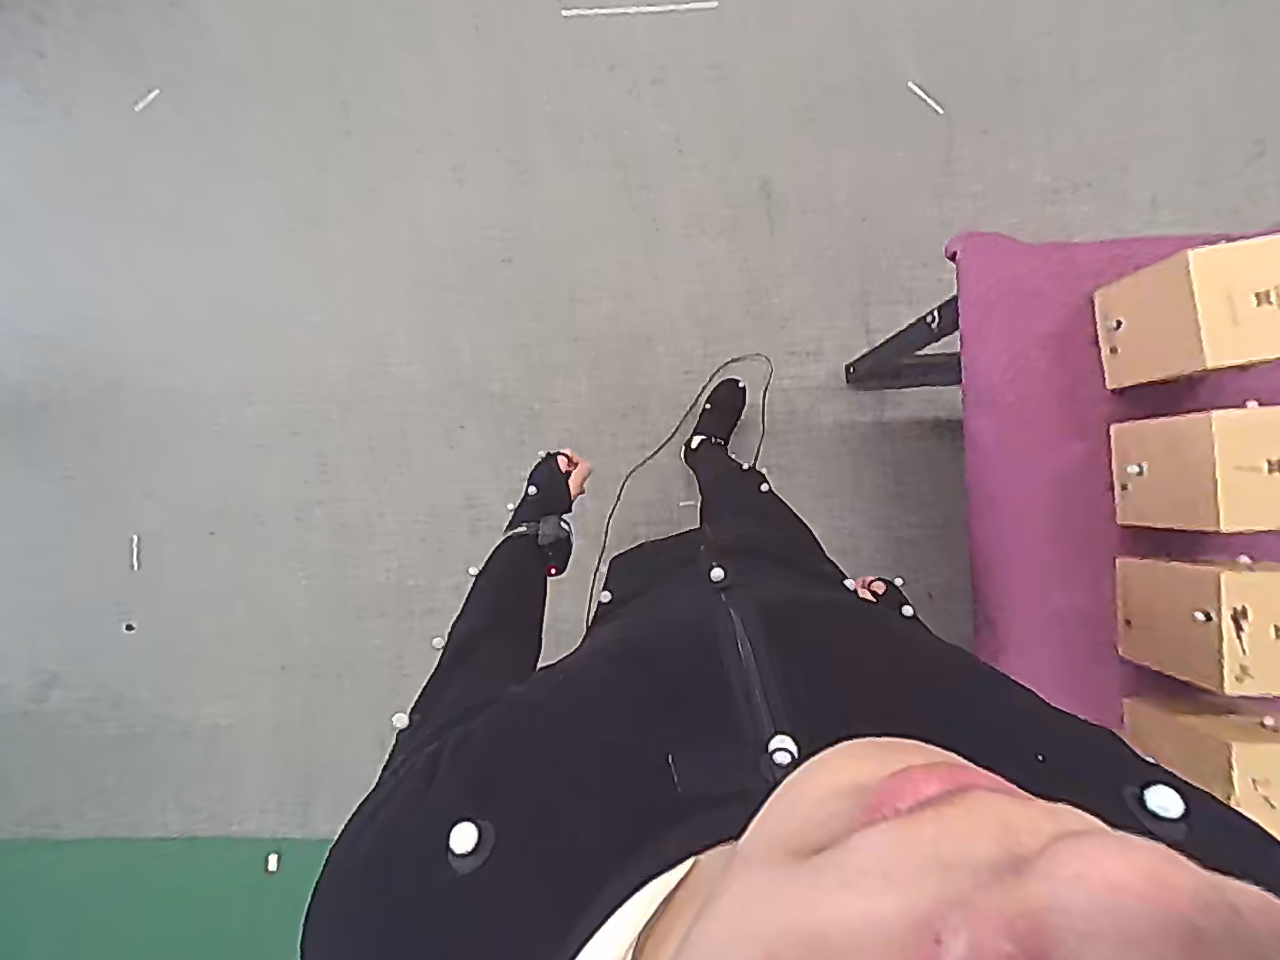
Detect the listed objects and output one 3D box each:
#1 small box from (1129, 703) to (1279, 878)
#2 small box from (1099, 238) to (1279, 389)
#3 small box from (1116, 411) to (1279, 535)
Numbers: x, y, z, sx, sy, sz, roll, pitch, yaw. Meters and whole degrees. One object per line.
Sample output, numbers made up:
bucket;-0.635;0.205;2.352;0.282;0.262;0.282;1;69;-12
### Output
small box;0.869;0.436;0.784;0.179;0.176;0.168;-1;89;2
small box;0.837;-0.237;0.795;0.179;0.176;0.168;-7;88;3
small box;0.856;-0.011;0.791;0.179;0.176;0.168;-3;89;3
